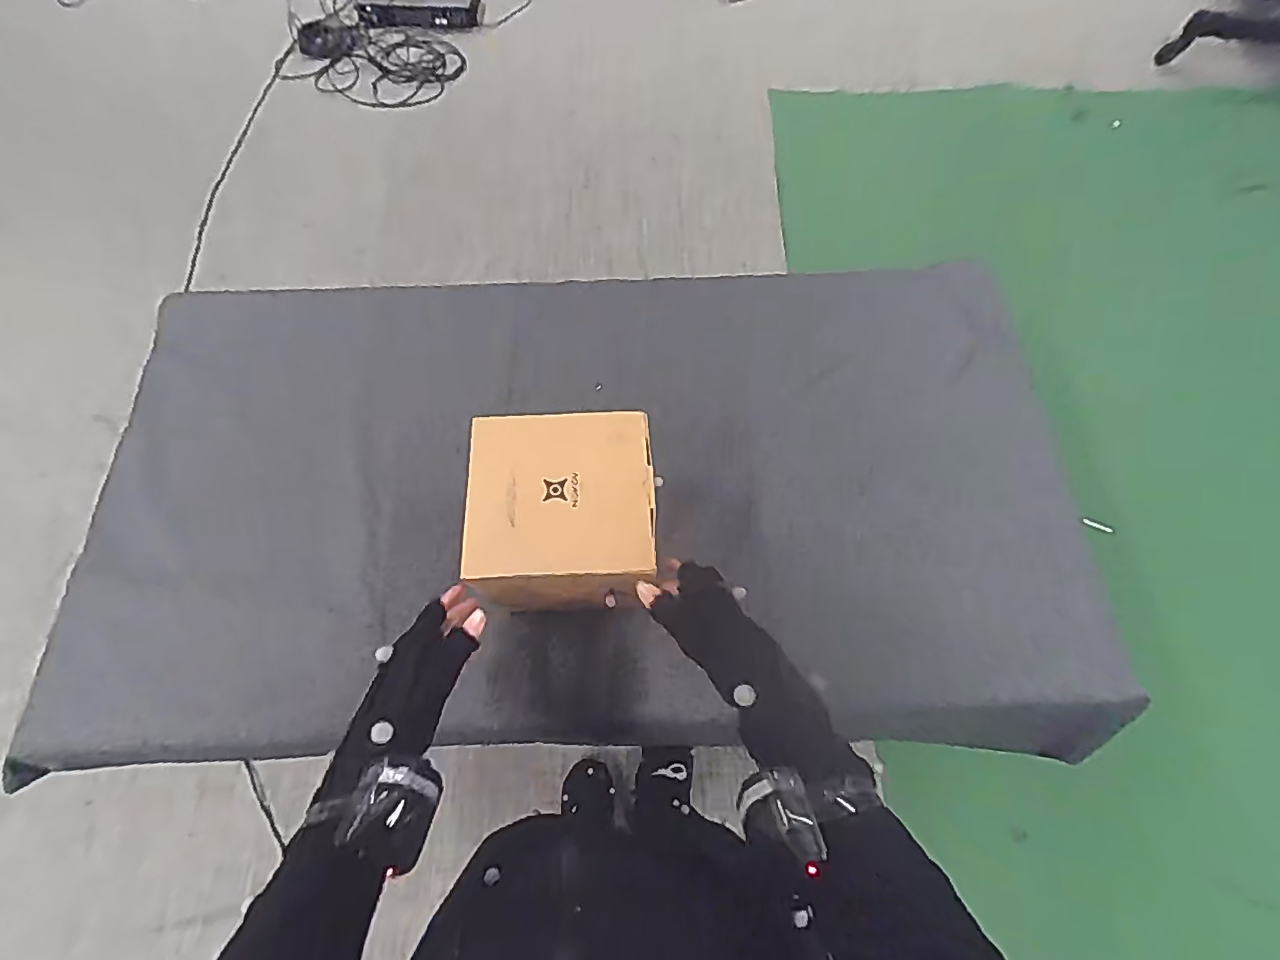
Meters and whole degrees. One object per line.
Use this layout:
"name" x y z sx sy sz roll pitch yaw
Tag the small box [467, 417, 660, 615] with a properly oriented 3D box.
"small box" -0.074 0.047 0.590 0.179 0.176 0.168 -4 65 -1
